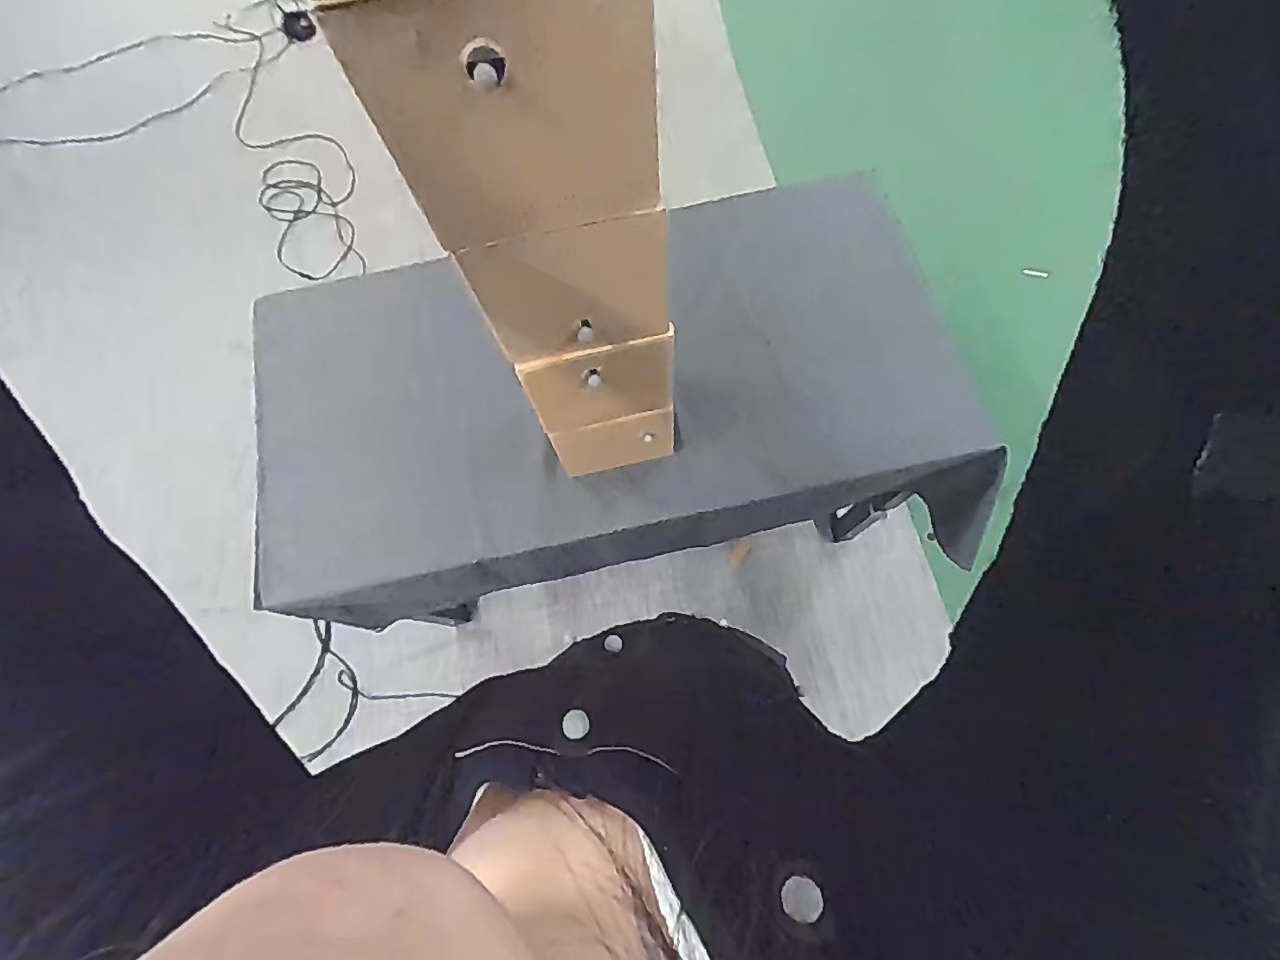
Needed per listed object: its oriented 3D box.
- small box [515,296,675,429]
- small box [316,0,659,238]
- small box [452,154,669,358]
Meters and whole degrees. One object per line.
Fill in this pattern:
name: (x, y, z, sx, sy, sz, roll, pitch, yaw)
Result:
small box: (-0.060, -0.183, 0.680, 0.179, 0.176, 0.168, -13, 70, -1)
small box: (-0.089, -0.299, 0.374, 0.179, 0.176, 0.168, -13, 71, -1)
small box: (-0.073, -0.242, 0.528, 0.179, 0.176, 0.168, -11, 70, -1)
